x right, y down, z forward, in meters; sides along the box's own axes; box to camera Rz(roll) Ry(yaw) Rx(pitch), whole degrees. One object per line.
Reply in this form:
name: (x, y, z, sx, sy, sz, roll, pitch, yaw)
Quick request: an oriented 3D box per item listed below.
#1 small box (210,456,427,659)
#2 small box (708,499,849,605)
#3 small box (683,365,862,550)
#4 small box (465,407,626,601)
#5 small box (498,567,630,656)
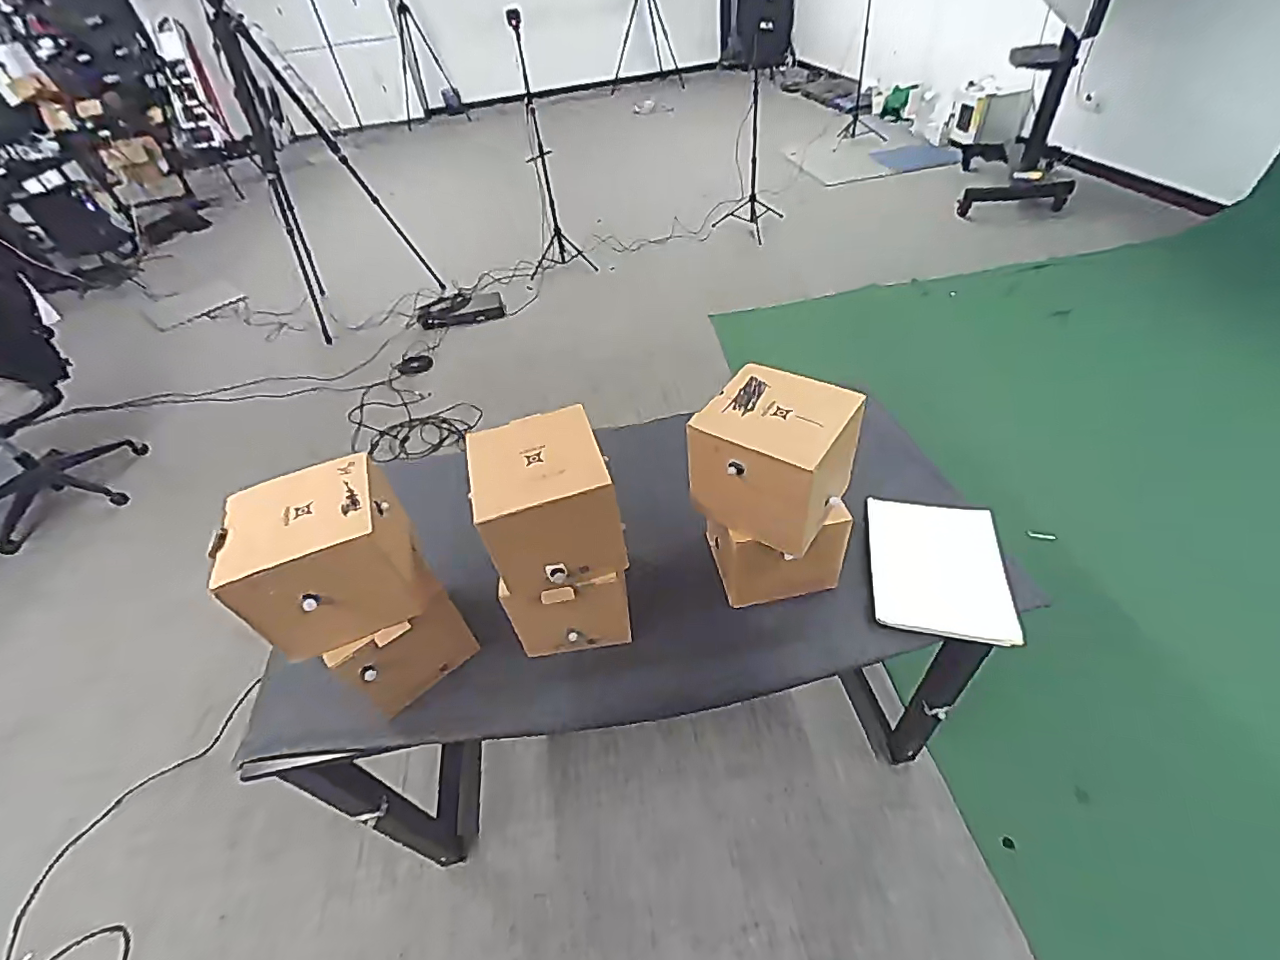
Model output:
small box: (-0.406, 0.103, 0.711, 0.179, 0.176, 0.168, -22, 45, -11)
small box: (0.210, 0.076, 0.873, 0.179, 0.176, 0.168, -12, 43, -2)
small box: (0.179, -0.031, 0.752, 0.179, 0.176, 0.168, 24, 53, 30)
small box: (-0.127, 0.032, 0.739, 0.168, 0.176, 0.179, -18, 45, -7)
small box: (-0.112, 0.148, 0.851, 0.168, 0.176, 0.179, -9, 44, 1)
